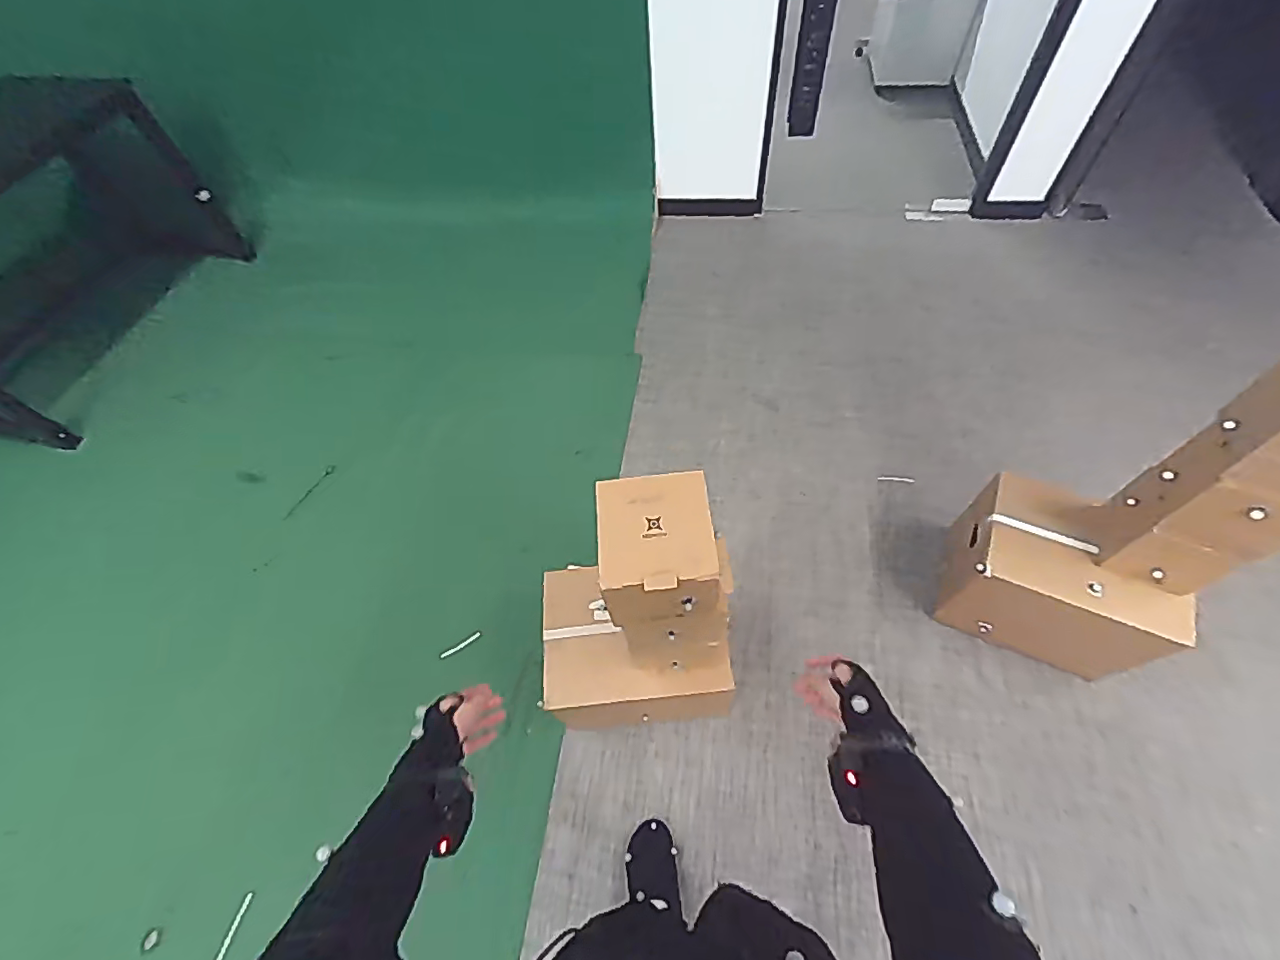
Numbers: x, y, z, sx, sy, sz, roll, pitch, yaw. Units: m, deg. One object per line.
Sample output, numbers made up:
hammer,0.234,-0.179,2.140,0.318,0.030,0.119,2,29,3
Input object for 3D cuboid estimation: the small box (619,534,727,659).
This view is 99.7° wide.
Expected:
small box,0.053,0.210,0.967,0.179,0.176,0.168,-7,56,2

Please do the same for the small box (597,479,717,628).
small box,0.027,0.121,0.833,0.168,0.176,0.179,-5,56,1

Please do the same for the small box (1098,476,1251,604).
small box,1.108,0.128,1.136,0.168,0.176,0.179,21,59,18

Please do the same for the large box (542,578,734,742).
large box,-0.005,0.431,1.318,0.408,0.320,0.320,-7,55,1

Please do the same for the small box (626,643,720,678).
small box,0.064,0.300,1.104,0.179,0.176,0.168,-3,56,3

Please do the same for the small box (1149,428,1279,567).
small box,1.107,0.038,1.001,0.179,0.176,0.168,23,59,19
